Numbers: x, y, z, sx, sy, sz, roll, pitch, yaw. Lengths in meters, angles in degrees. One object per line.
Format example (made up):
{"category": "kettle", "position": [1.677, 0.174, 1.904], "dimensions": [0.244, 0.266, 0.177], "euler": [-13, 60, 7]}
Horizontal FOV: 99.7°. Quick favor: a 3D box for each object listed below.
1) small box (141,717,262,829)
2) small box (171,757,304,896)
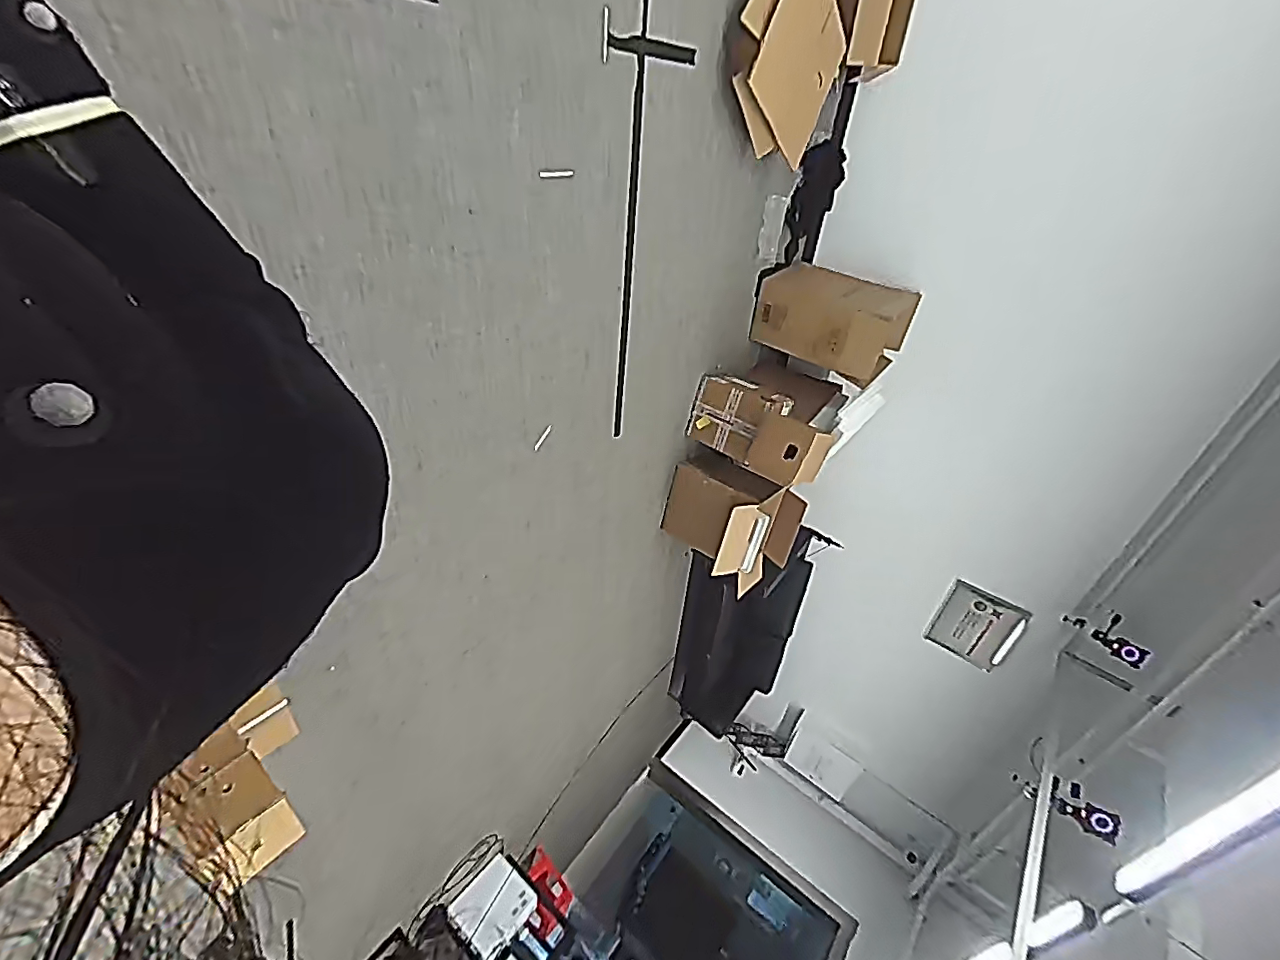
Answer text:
{"category": "small box", "position": [-1.030, 0.711, 1.293], "dimensions": [0.179, 0.176, 0.168], "euler": [-34, 140, -40]}
{"category": "small box", "position": [-0.899, 0.768, 1.214], "dimensions": [0.168, 0.176, 0.179], "euler": [-35, 140, -42]}
